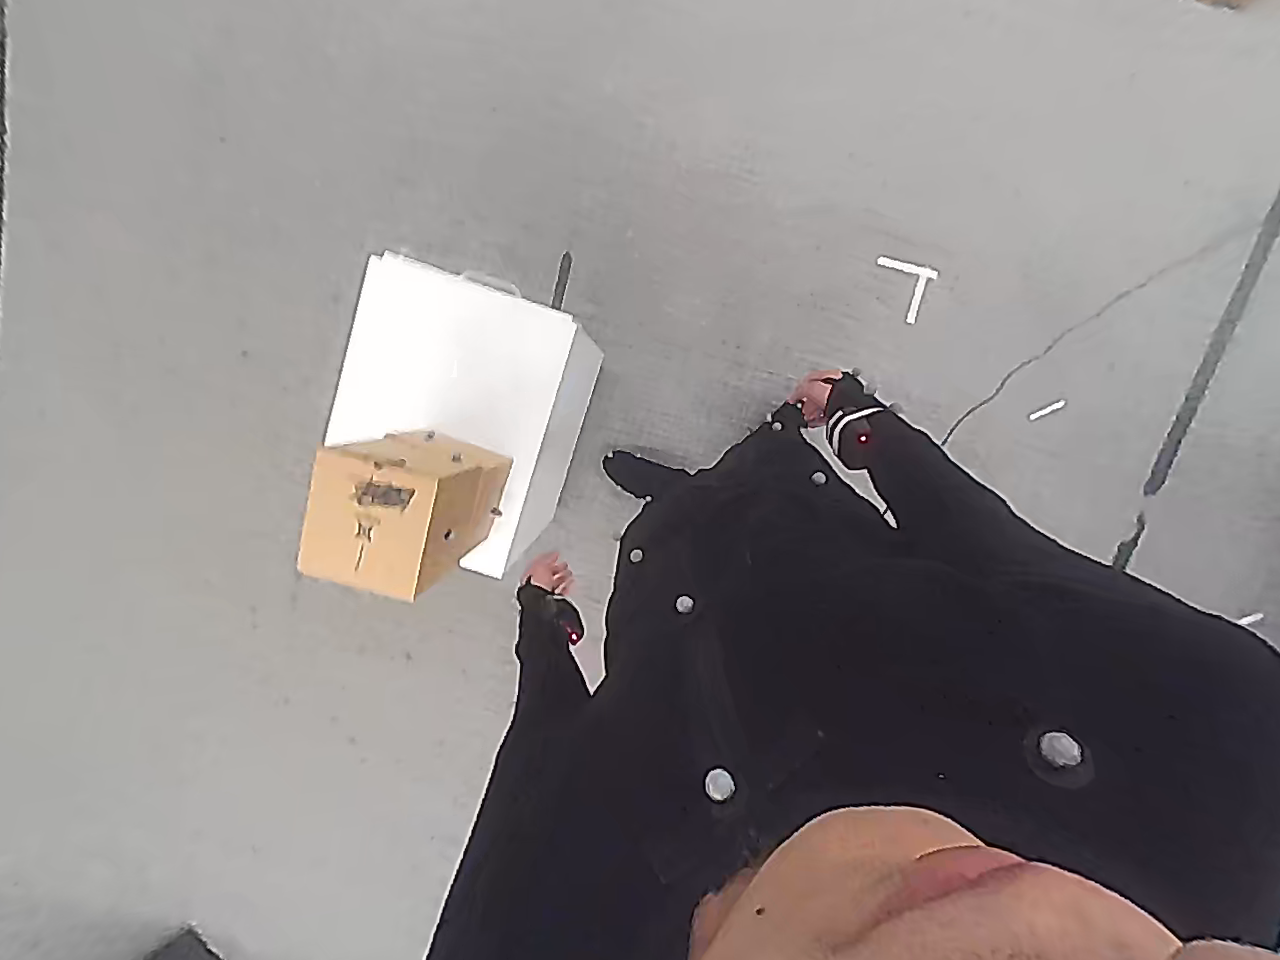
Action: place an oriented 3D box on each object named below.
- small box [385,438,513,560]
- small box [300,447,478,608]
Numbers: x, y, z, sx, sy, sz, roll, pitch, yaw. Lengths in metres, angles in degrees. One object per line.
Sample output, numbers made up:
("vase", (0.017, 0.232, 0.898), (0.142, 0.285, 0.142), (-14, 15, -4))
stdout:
("small box", (-0.345, 0.029, 0.948), (0.179, 0.176, 0.168), (19, 98, -1))
("small box", (-0.350, 0.057, 0.786), (0.168, 0.176, 0.179), (15, 99, 1))
